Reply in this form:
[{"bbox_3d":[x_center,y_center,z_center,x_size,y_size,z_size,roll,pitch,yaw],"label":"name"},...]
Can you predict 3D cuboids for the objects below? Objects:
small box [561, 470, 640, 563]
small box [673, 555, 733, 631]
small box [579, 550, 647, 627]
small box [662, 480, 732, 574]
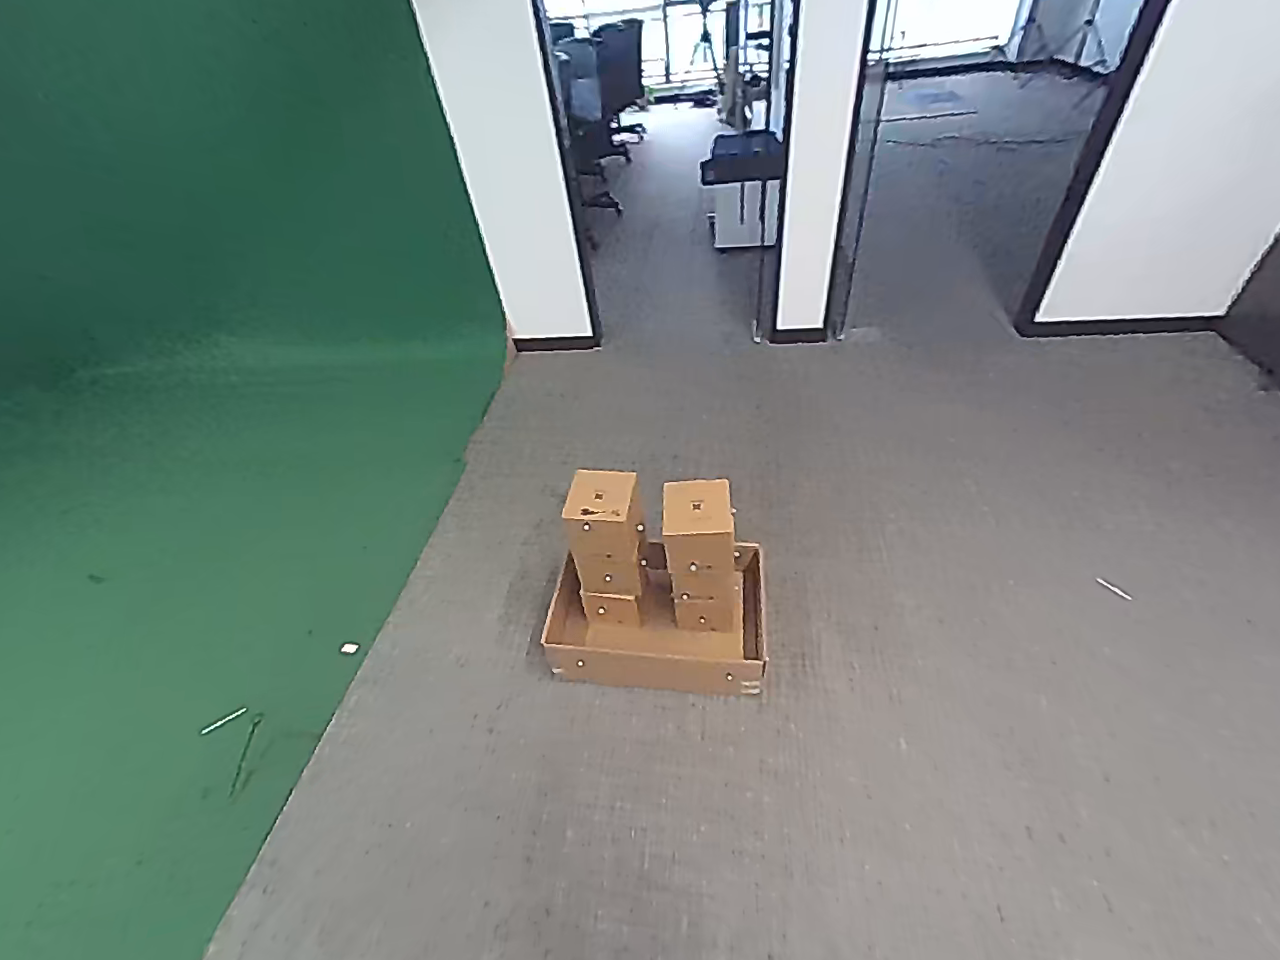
[{"bbox_3d":[-0.096,0.095,1.439,0.168,0.176,0.179,3,44,11],"label":"small box"},{"bbox_3d":[0.193,0.336,1.622,0.168,0.176,0.179,1,45,10],"label":"small box"},{"bbox_3d":[-0.077,0.331,1.669,0.168,0.176,0.179,5,45,11],"label":"small box"},{"bbox_3d":[0.146,0.121,1.379,0.168,0.176,0.179,-3,46,7],"label":"small box"}]
